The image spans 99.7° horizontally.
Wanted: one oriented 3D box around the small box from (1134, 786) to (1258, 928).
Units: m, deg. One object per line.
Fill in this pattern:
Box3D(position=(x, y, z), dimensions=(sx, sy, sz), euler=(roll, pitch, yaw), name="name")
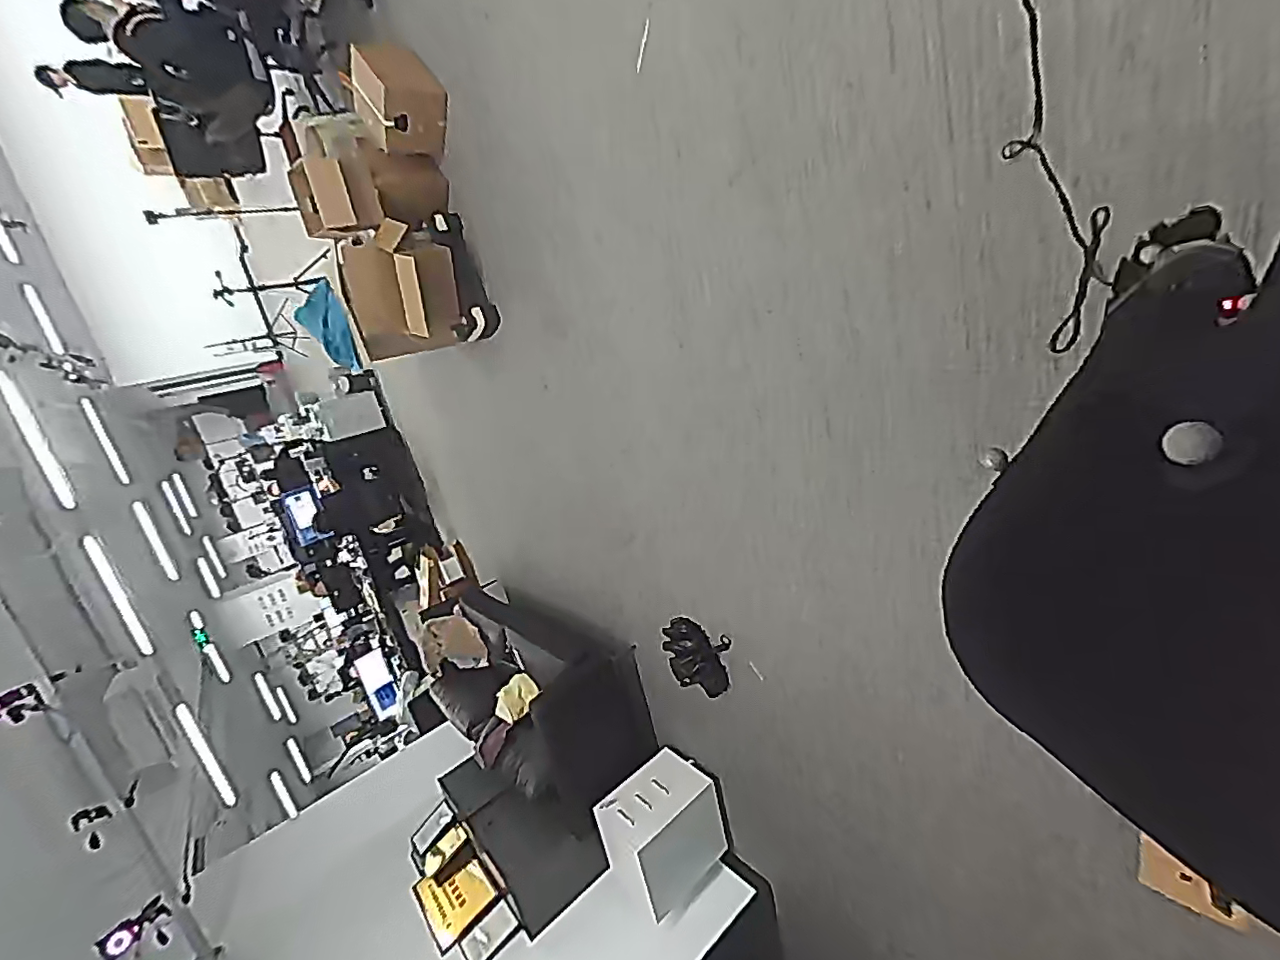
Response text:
Box3D(position=(1.288, 0.857, 1.254), dimensions=(0.179, 0.176, 0.168), euler=(10, 118, 52), name="small box")
